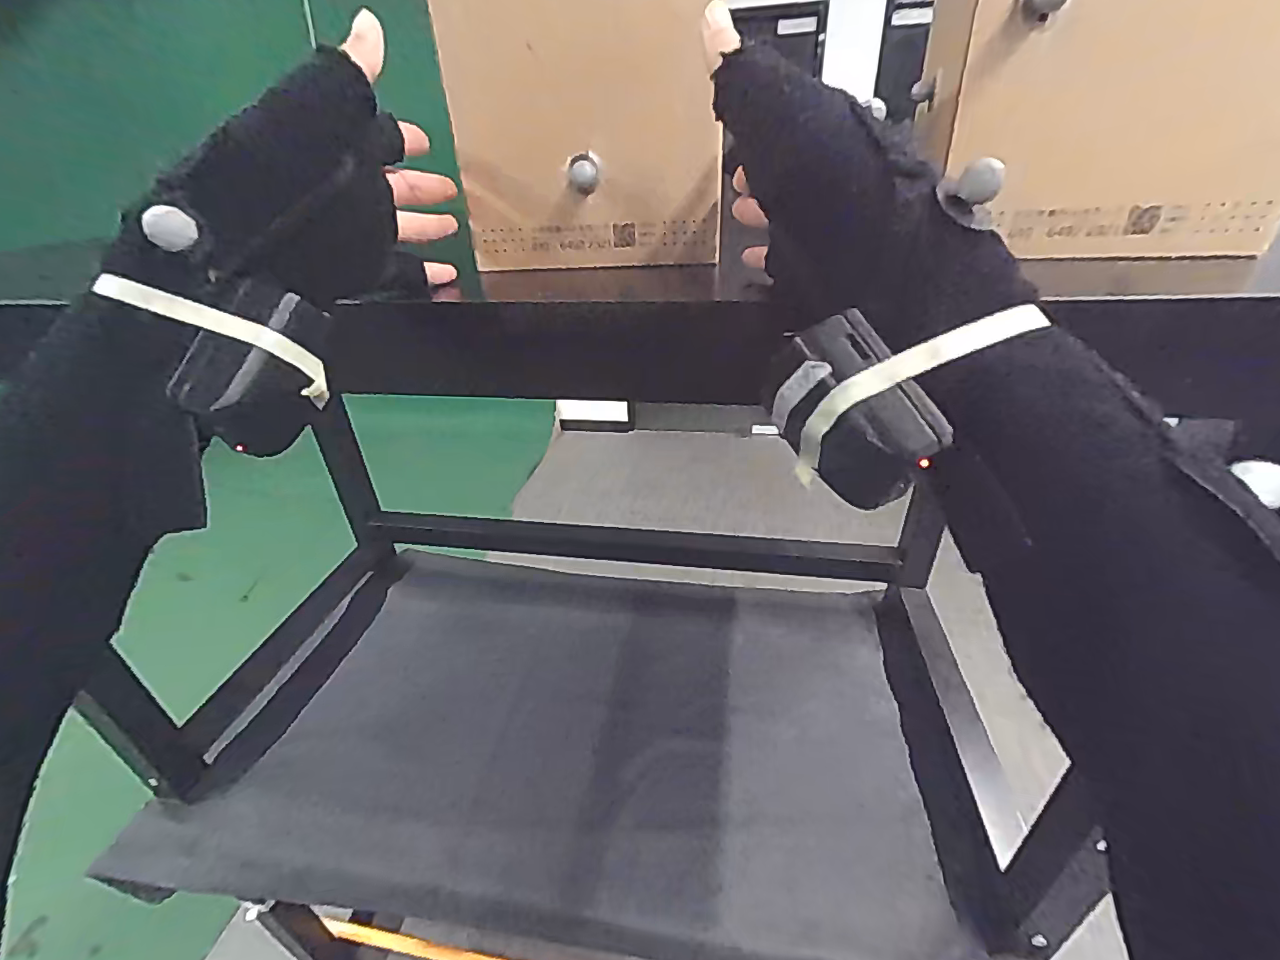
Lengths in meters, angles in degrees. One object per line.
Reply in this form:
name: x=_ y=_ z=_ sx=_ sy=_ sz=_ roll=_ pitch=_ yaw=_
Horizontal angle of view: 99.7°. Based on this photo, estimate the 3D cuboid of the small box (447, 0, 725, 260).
small box: x=-0.024 y=-0.264 z=0.403 sx=0.168 sy=0.176 sz=0.179 roll=0 pitch=30 yaw=6
